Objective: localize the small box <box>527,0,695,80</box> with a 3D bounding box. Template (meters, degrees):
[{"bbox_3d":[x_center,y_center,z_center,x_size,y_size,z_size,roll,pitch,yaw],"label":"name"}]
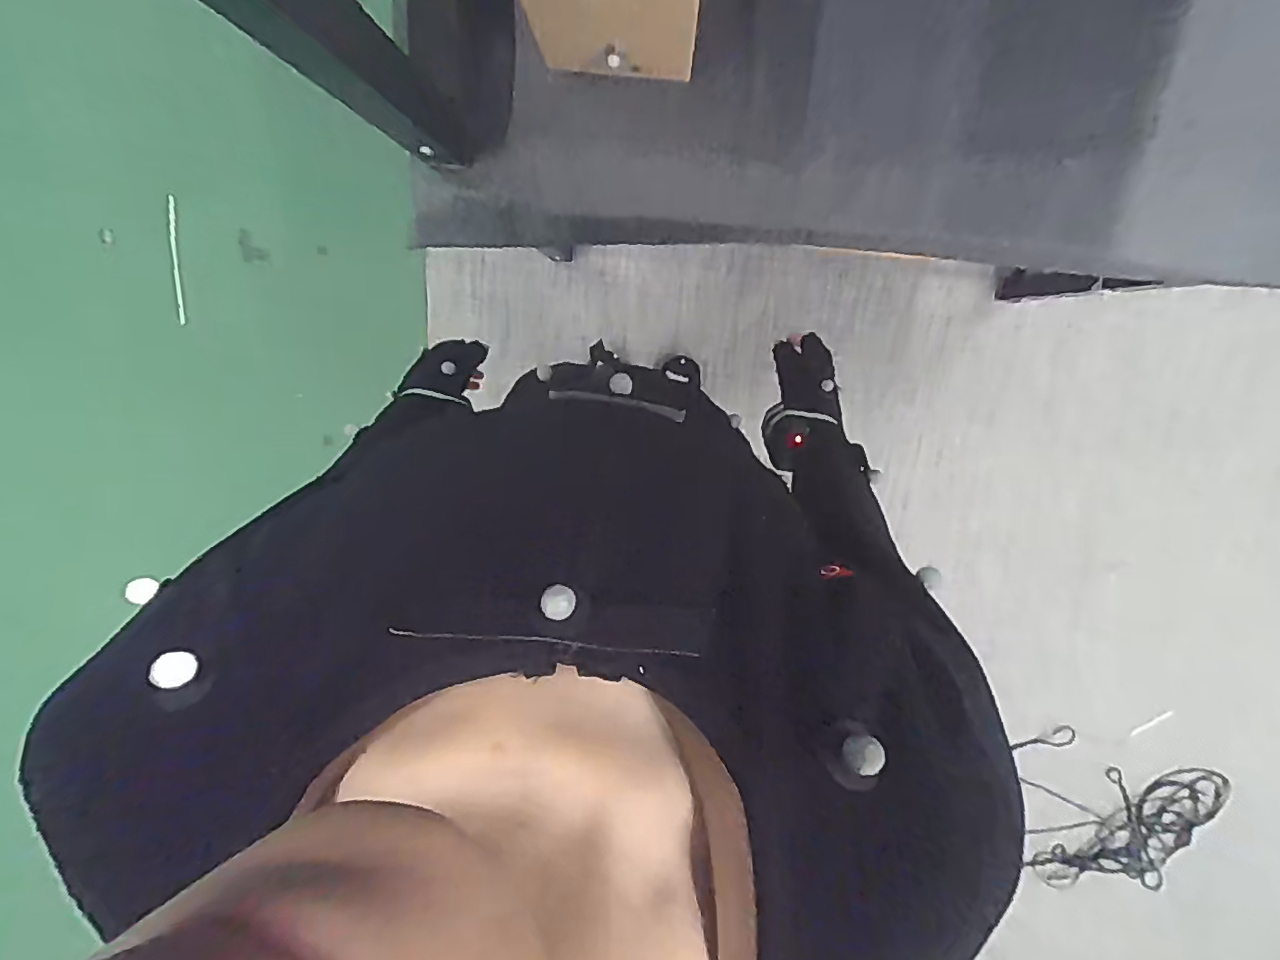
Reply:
[{"bbox_3d":[-0.023,-0.527,0.516,0.168,0.176,0.179,6,104,1],"label":"small box"}]
